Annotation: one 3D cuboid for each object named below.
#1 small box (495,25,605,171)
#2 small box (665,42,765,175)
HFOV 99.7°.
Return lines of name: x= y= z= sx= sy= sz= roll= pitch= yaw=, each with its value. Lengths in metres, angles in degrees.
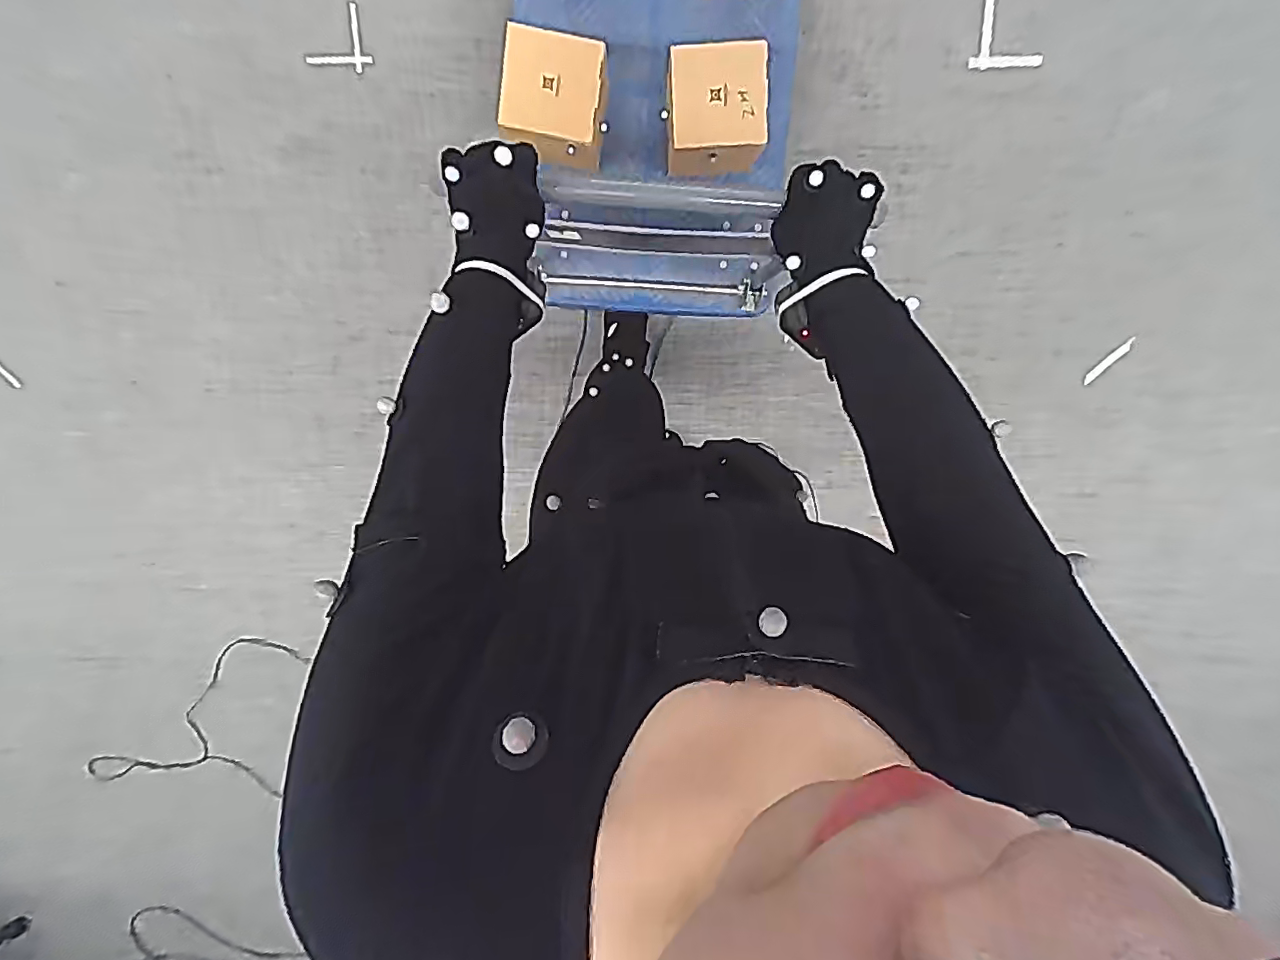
small box: x=-0.166 y=-0.722 z=1.043 sx=0.179 sy=0.176 sz=0.168 roll=9 pitch=103 yaw=-4
small box: x=0.138 y=-0.707 z=1.049 sx=0.179 sy=0.176 sz=0.168 roll=-3 pitch=104 yaw=0
